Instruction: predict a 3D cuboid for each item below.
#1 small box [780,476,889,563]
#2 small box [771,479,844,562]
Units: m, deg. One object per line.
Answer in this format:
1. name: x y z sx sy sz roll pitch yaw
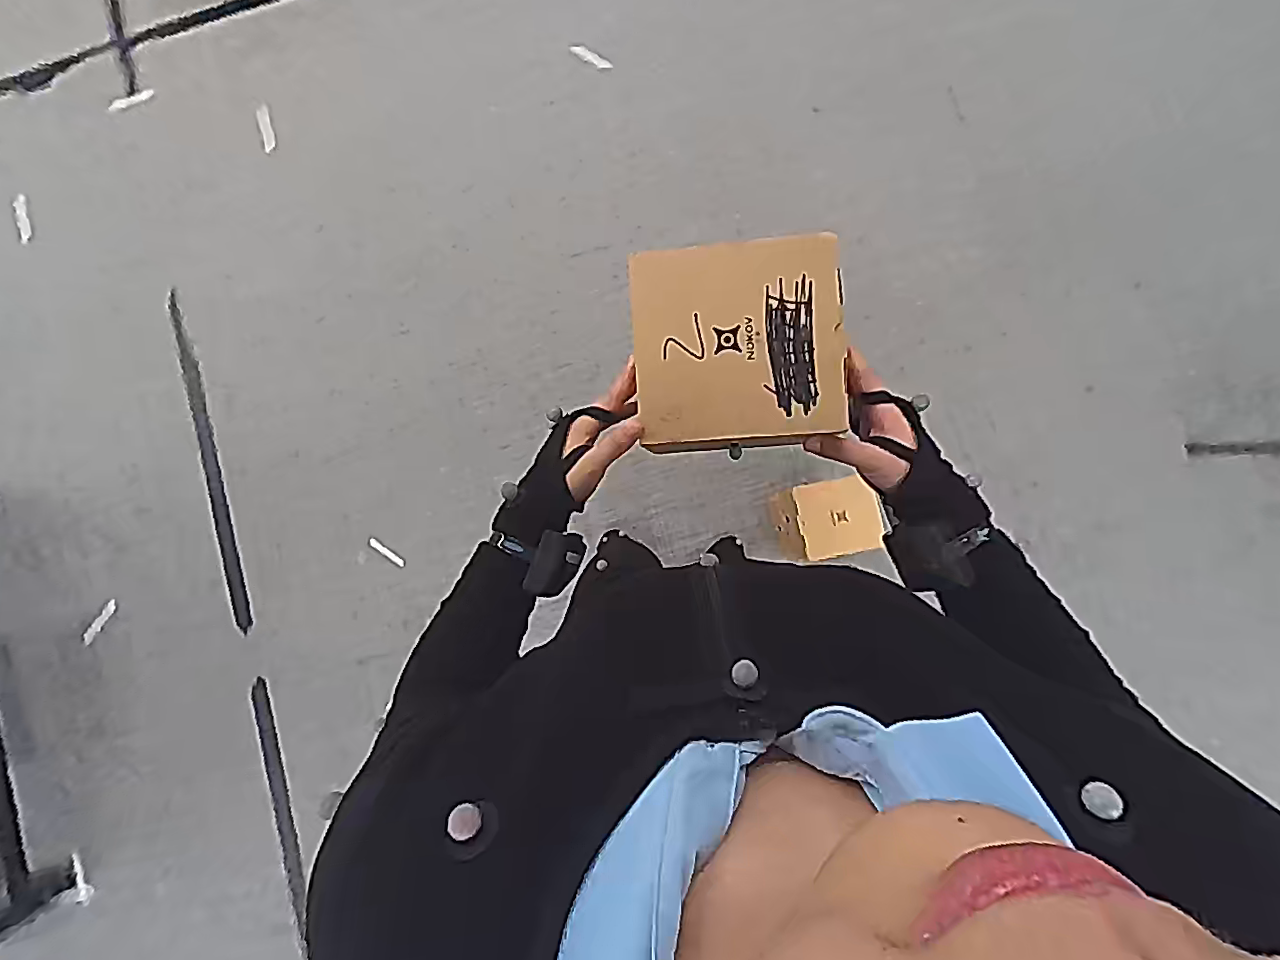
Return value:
1. small box: 0.438 0.089 1.246 0.179 0.176 0.168 -12 85 2
2. small box: 0.452 0.107 1.408 0.179 0.176 0.168 -18 85 1
